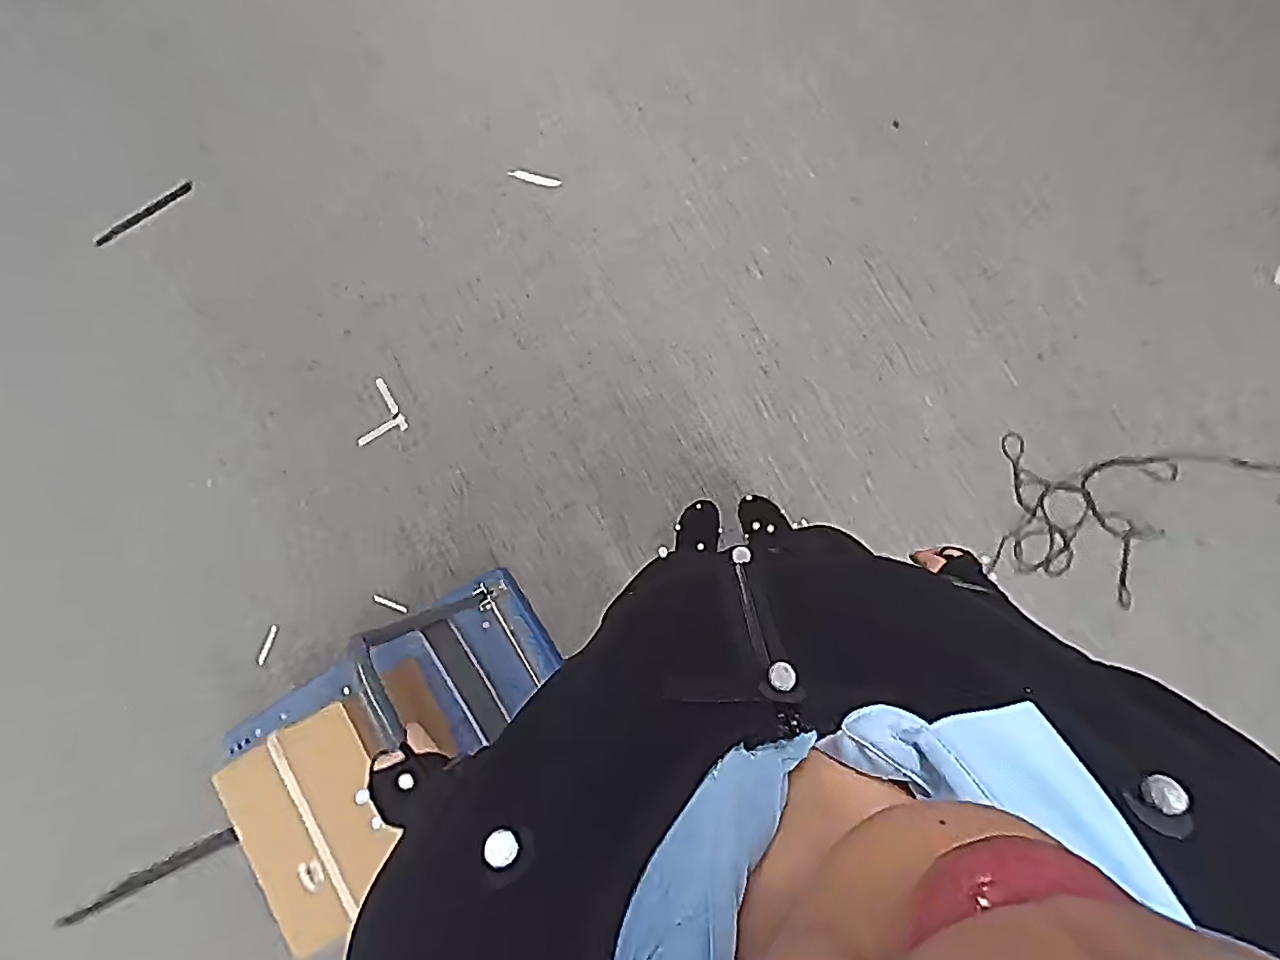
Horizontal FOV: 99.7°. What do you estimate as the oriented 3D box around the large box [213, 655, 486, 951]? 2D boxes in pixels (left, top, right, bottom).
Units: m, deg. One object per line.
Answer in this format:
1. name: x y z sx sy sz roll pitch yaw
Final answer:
1. large box: -0.610 0.672 1.200 0.320 0.320 0.408 -30 86 3
